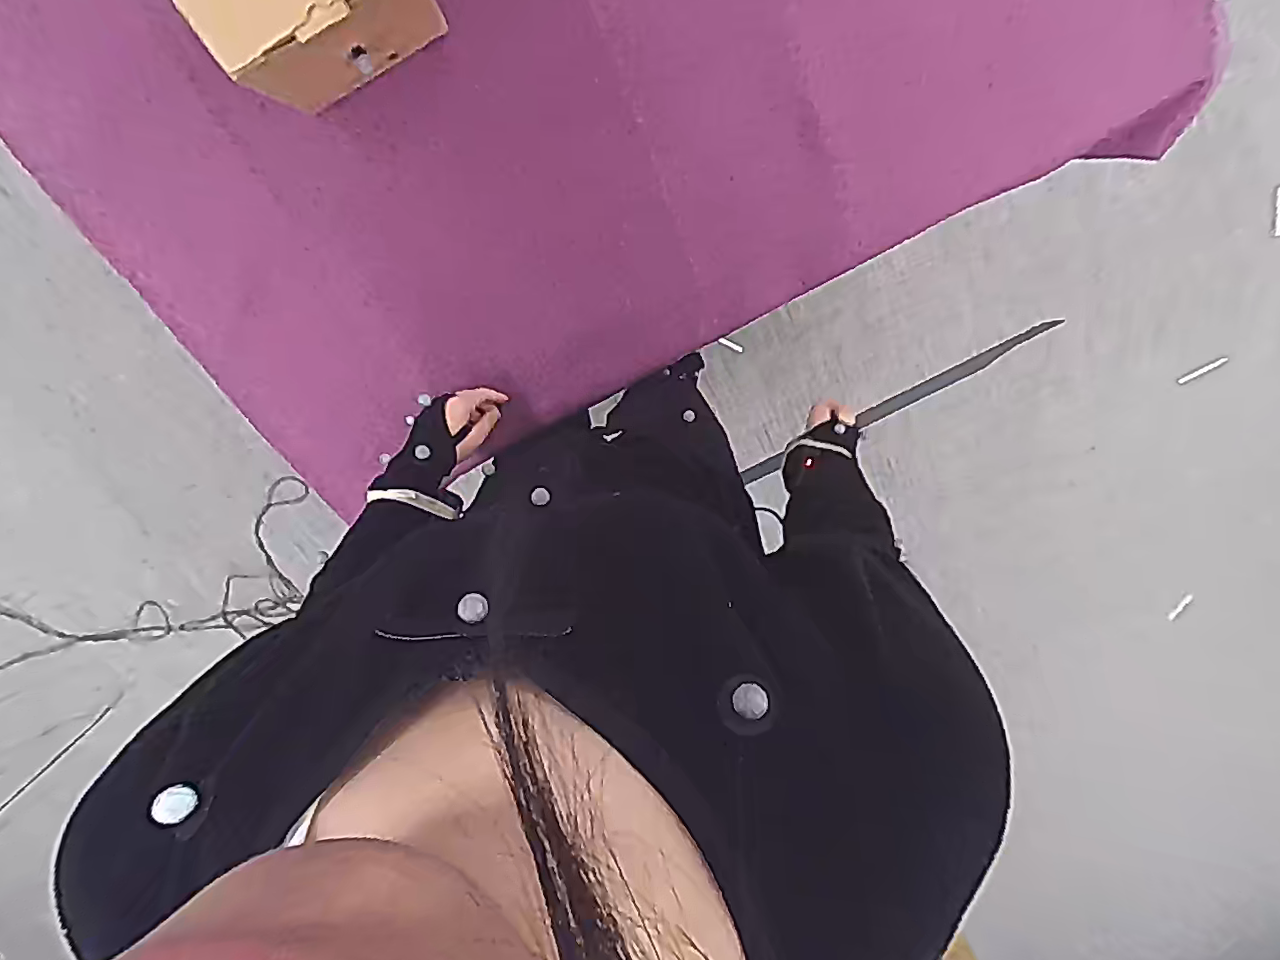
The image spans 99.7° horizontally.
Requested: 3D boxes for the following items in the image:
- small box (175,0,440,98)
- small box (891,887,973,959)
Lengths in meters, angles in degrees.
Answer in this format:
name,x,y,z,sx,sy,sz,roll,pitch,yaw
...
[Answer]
name,x,y,z,sx,sy,sz,roll,pitch,yaw
small box,-0.287,-0.441,0.433,0.168,0.176,0.179,-28,117,4
small box,0.966,1.502,1.792,0.168,0.176,0.179,-28,113,4
